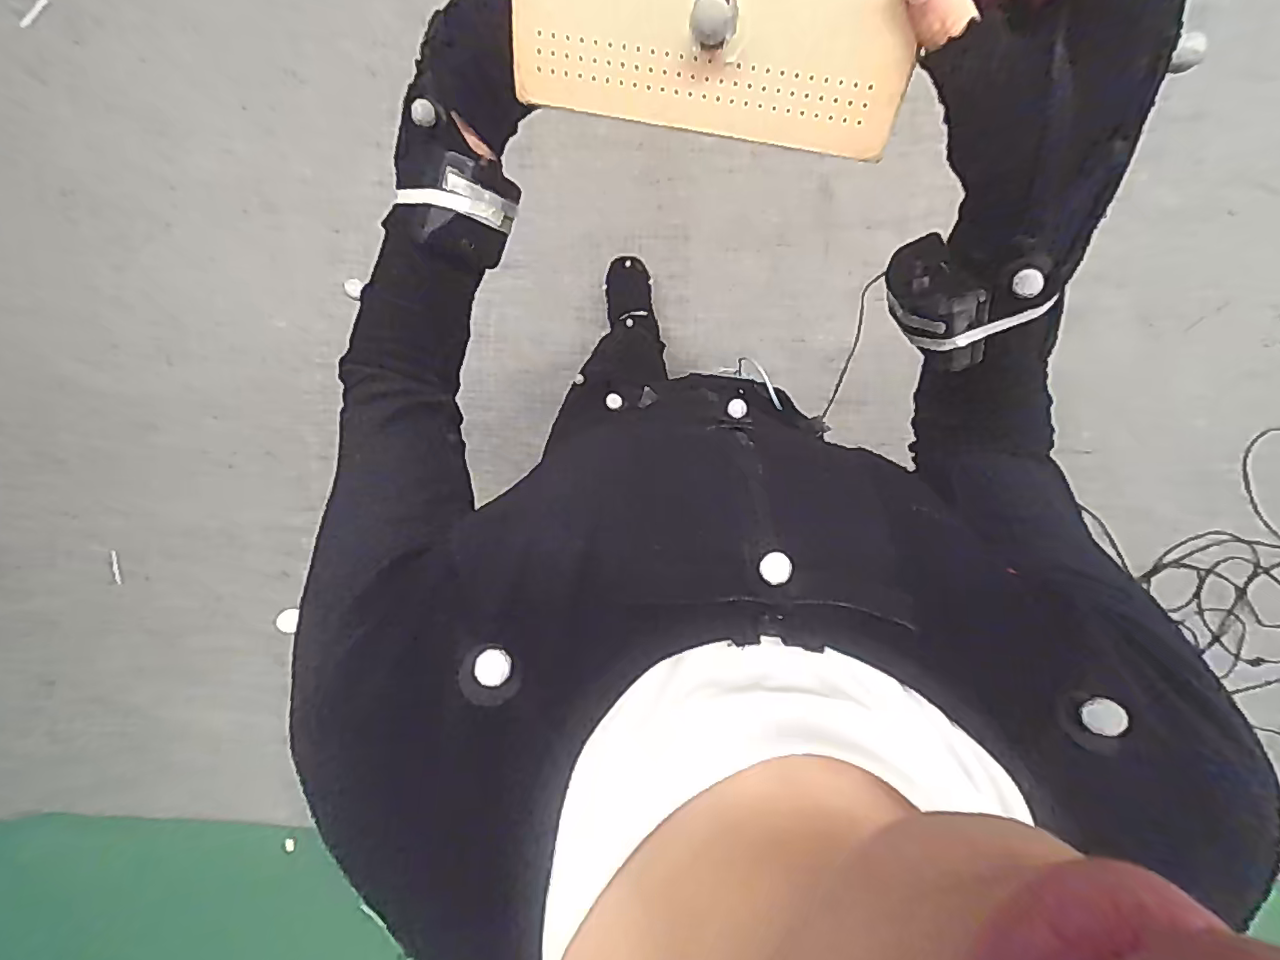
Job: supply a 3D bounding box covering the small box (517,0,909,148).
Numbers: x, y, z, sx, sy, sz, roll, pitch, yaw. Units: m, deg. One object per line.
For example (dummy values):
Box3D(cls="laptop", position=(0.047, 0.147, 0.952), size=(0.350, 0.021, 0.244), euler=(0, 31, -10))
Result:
Box3D(cls="small box", position=(0.046, -0.280, 0.273), size=(0.179, 0.168, 0.176), euler=(11, 129, 3))
